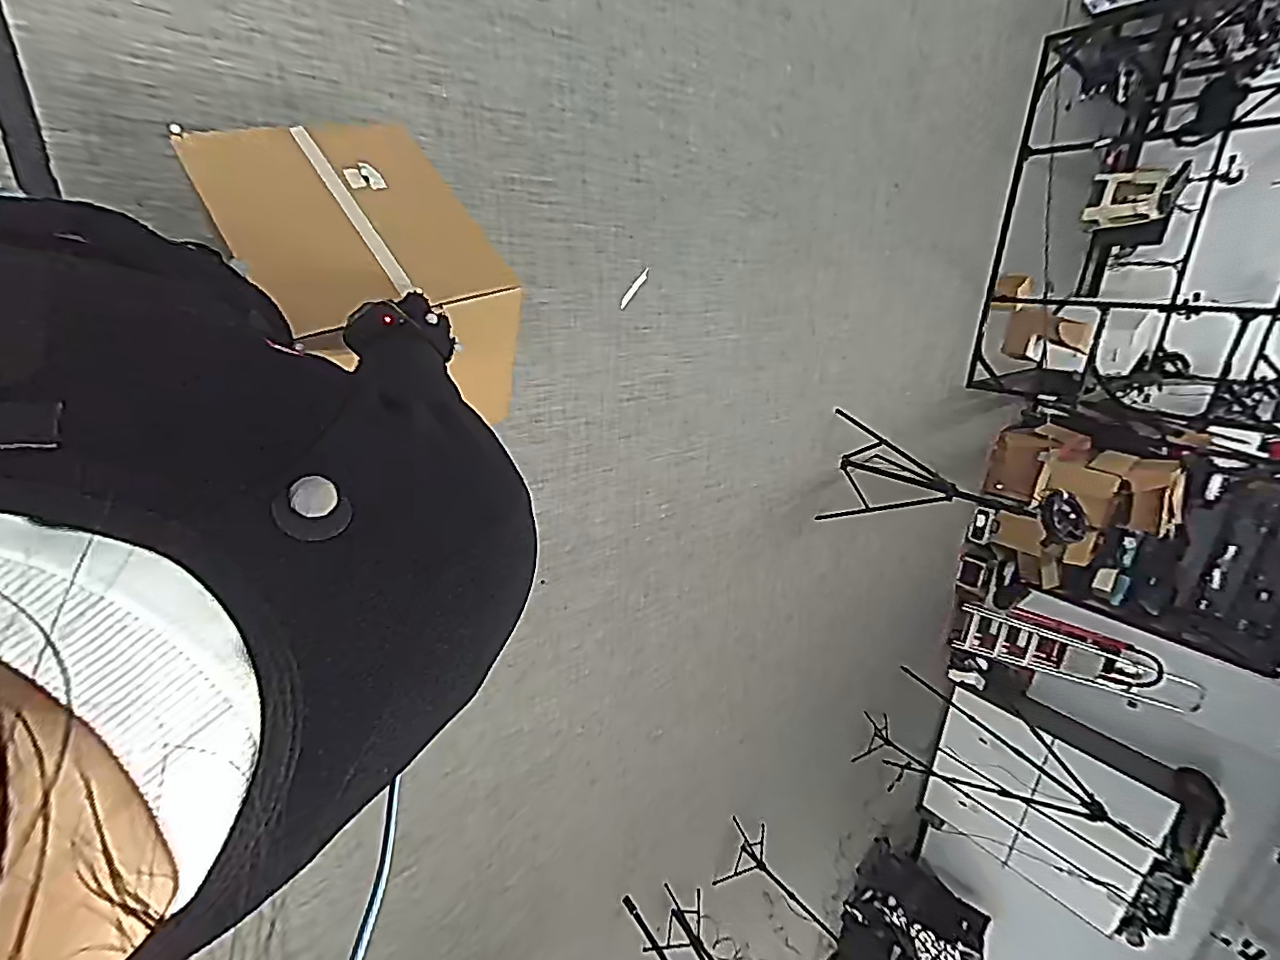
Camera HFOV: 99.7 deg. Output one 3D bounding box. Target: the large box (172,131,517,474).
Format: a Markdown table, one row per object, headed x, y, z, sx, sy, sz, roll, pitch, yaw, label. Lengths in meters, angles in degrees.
| x | y | z | sx | sy | sz | roll | pitch | yaw | label |
| --- | --- | --- | --- | --- | --- | --- | --- | --- | --- |
| -0.447 | -0.289 | 0.880 | 0.320 | 0.408 | 0.320 | -27 | 160 | -32 | large box |
